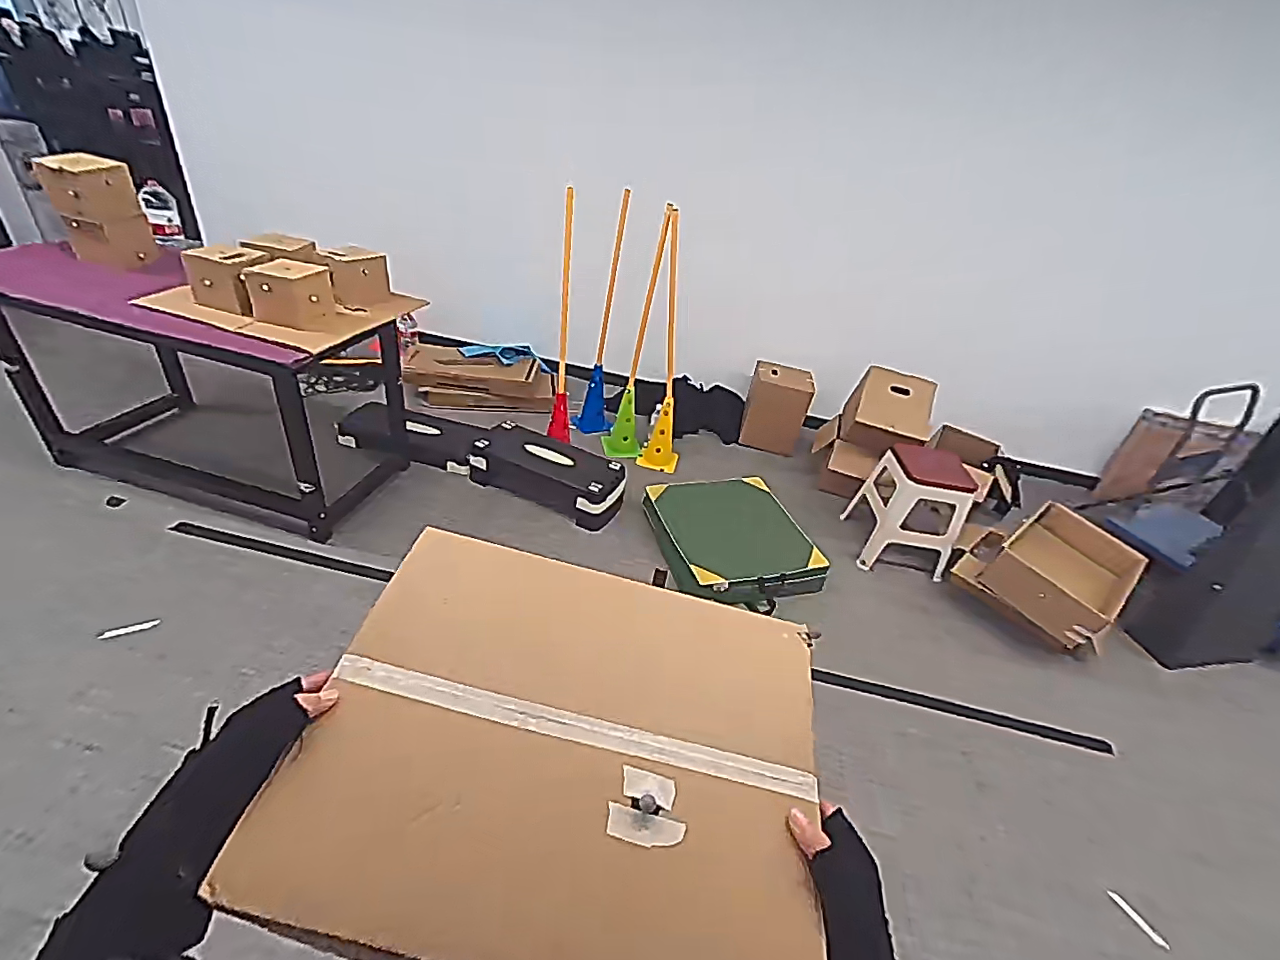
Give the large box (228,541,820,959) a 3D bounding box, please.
[{"bbox_3d":[-0.078,0.315,0.555,0.408,0.320,0.320,15,45,0],"label":"large box"}]
